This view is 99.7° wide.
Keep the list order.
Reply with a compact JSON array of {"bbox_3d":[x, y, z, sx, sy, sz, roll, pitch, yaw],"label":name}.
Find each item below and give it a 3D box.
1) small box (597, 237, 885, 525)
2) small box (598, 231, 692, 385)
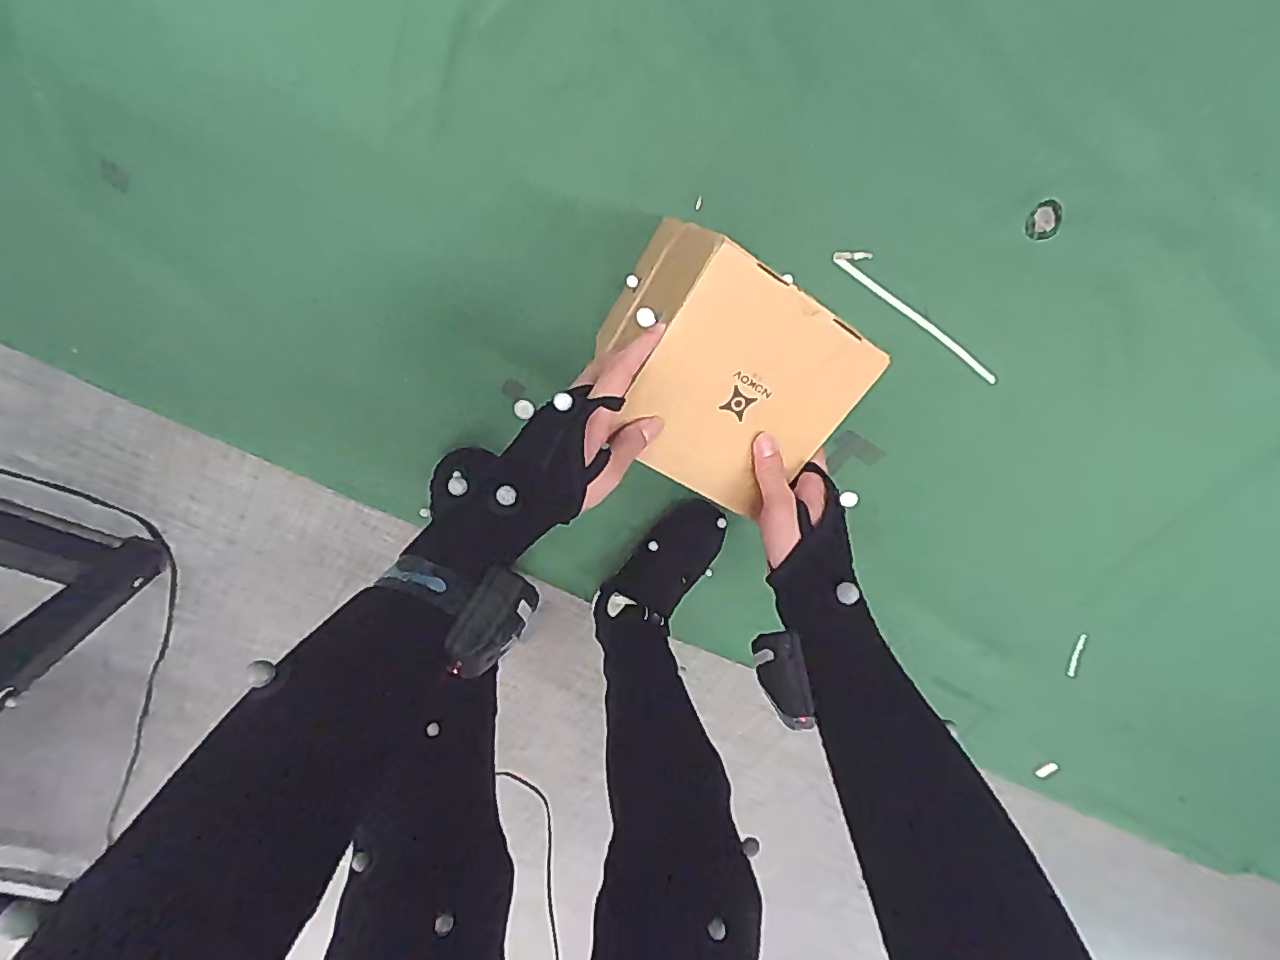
[{"bbox_3d":[0.074,-0.097,0.495,0.168,0.176,0.179,28,111,-18],"label":"small box"},{"bbox_3d":[0.061,-0.176,0.649,0.168,0.176,0.179,27,114,-15],"label":"small box"}]
